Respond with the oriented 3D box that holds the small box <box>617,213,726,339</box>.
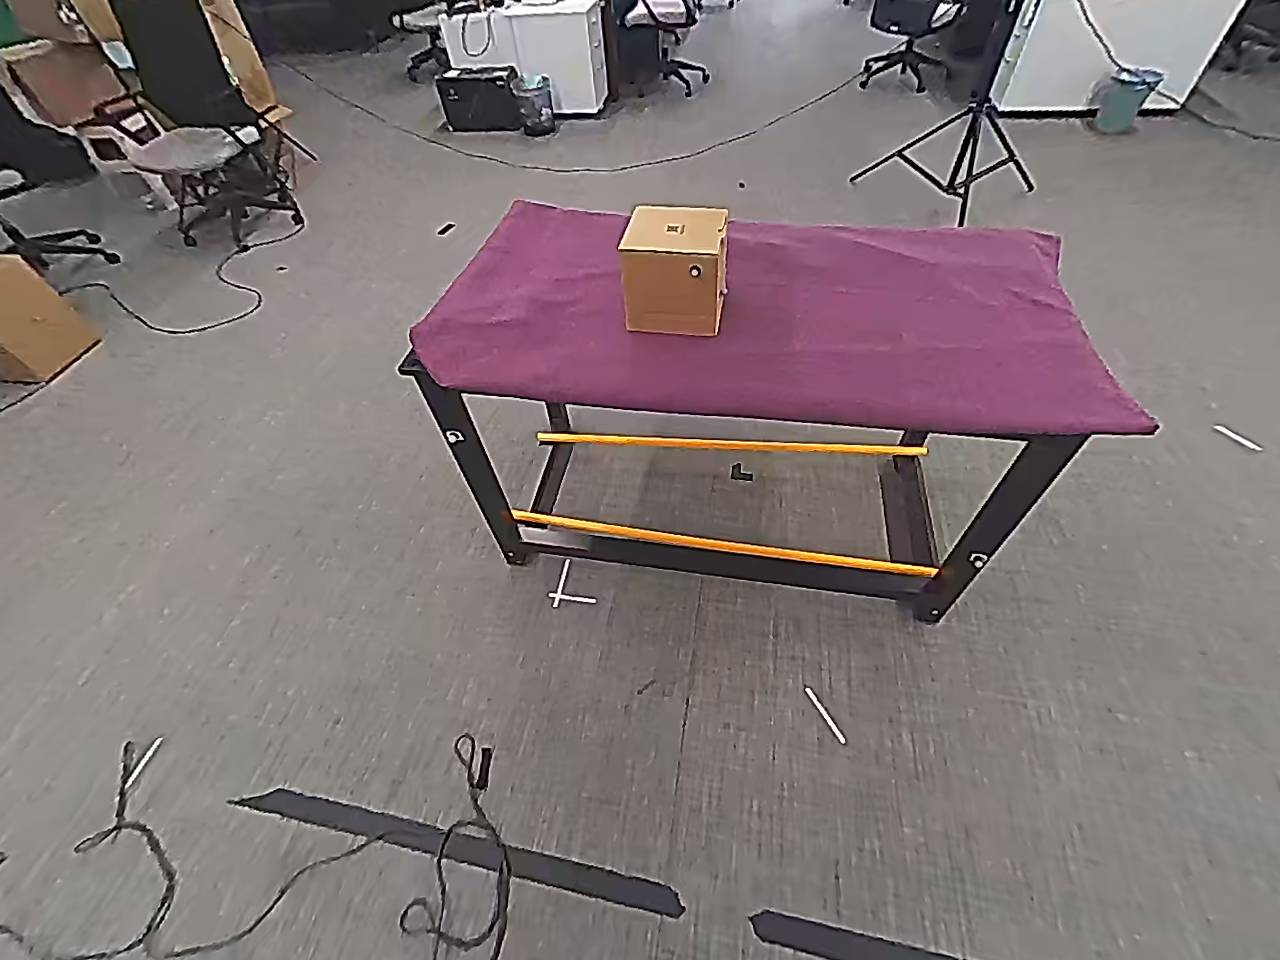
[{"bbox_3d":[0.065,-0.386,1.029,0.179,0.176,0.168,7,51,9],"label":"small box"}]
